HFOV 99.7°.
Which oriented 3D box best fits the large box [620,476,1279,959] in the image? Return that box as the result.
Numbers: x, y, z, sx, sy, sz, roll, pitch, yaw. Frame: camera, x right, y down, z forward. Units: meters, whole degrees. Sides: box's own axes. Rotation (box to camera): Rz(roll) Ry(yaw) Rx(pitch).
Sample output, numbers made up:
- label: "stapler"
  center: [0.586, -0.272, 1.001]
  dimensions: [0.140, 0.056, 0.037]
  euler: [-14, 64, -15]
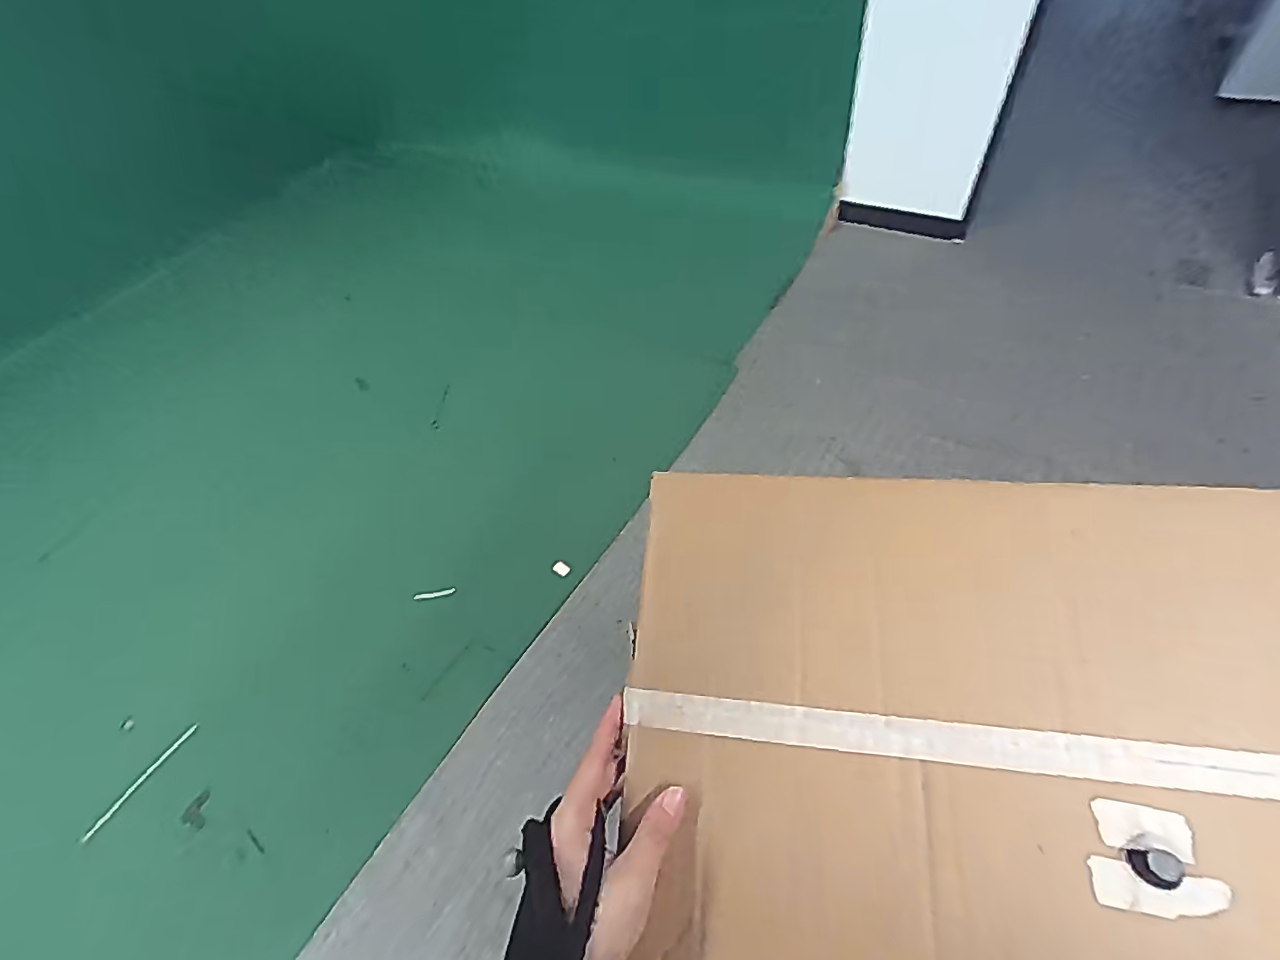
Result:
- label: "large box"
  center: [0.212, 0.196, 0.452]
  dimensions: [0.408, 0.320, 0.320]
  euler: [1, 70, 10]
